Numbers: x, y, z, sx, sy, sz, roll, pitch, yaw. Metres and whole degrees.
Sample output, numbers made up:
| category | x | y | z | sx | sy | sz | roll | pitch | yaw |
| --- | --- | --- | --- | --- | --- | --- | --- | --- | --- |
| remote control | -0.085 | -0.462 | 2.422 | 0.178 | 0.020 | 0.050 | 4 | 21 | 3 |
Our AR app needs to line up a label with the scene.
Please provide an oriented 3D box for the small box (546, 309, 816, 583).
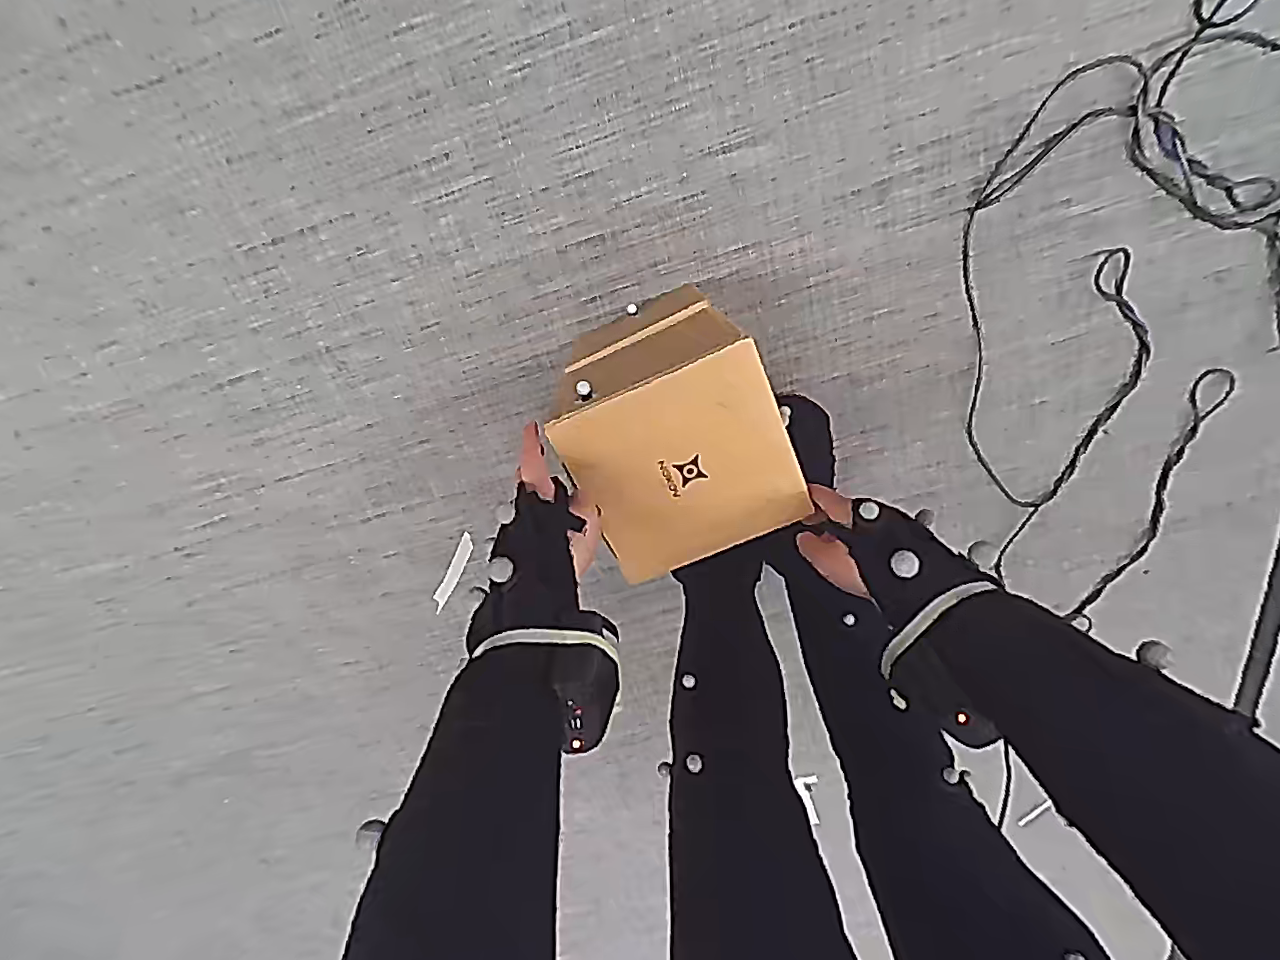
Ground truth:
| category | x | y | z | sx | sy | sz | roll | pitch | yaw |
| --- | --- | --- | --- | --- | --- | --- | --- | --- | --- |
| small box | 0.034 | -0.042 | 0.501 | 0.179 | 0.176 | 0.168 | -23 | 113 | 9 |
